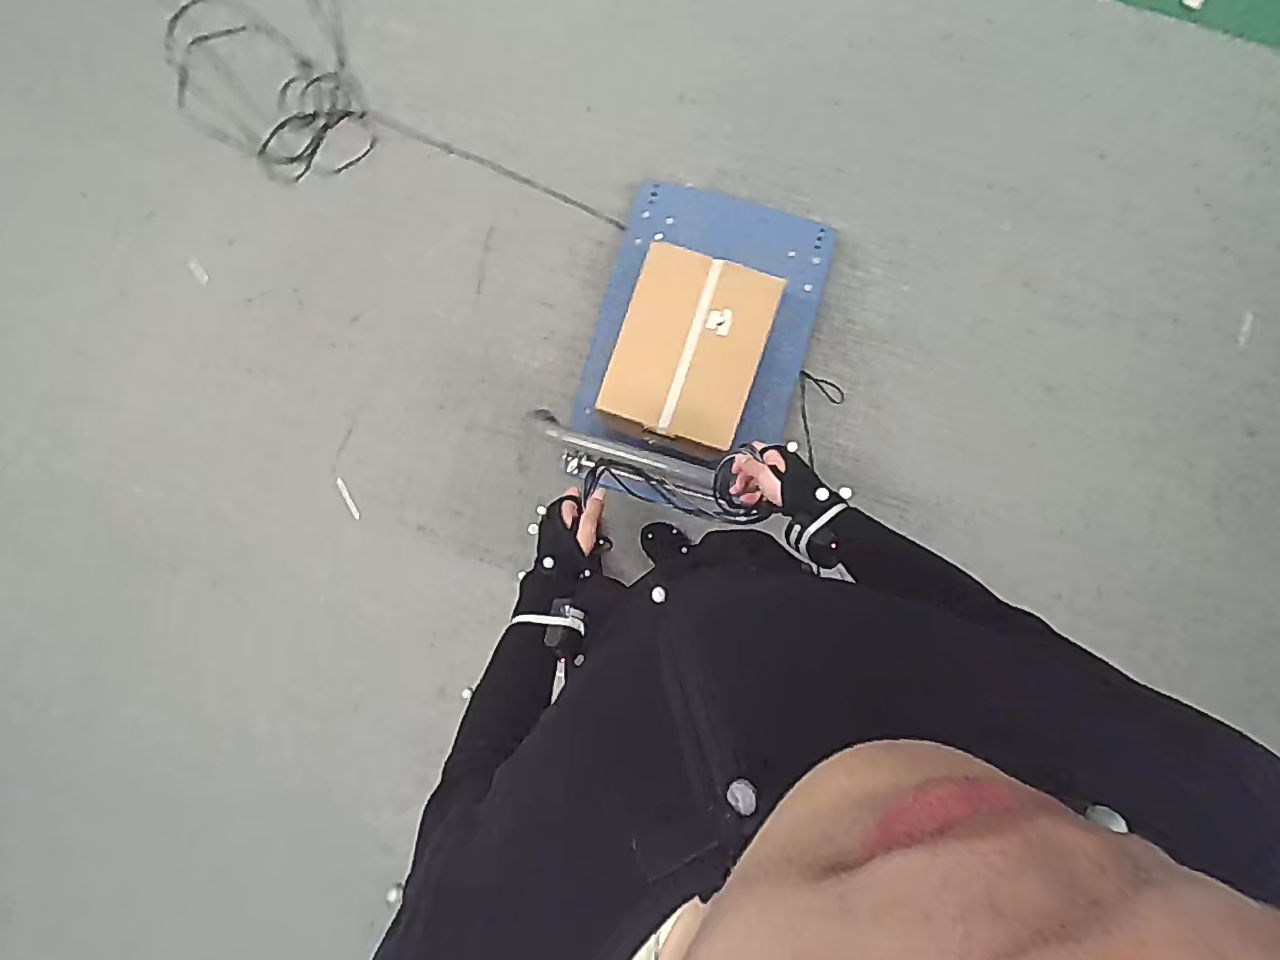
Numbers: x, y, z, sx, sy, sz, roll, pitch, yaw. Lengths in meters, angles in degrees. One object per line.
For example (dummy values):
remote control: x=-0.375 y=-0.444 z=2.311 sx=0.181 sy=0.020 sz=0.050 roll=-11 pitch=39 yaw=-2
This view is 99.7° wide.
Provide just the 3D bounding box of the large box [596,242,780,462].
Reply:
large box: x=0.109 y=-0.285 z=1.331 sx=0.320 sy=0.320 sz=0.408 roll=18 pitch=87 yaw=1
